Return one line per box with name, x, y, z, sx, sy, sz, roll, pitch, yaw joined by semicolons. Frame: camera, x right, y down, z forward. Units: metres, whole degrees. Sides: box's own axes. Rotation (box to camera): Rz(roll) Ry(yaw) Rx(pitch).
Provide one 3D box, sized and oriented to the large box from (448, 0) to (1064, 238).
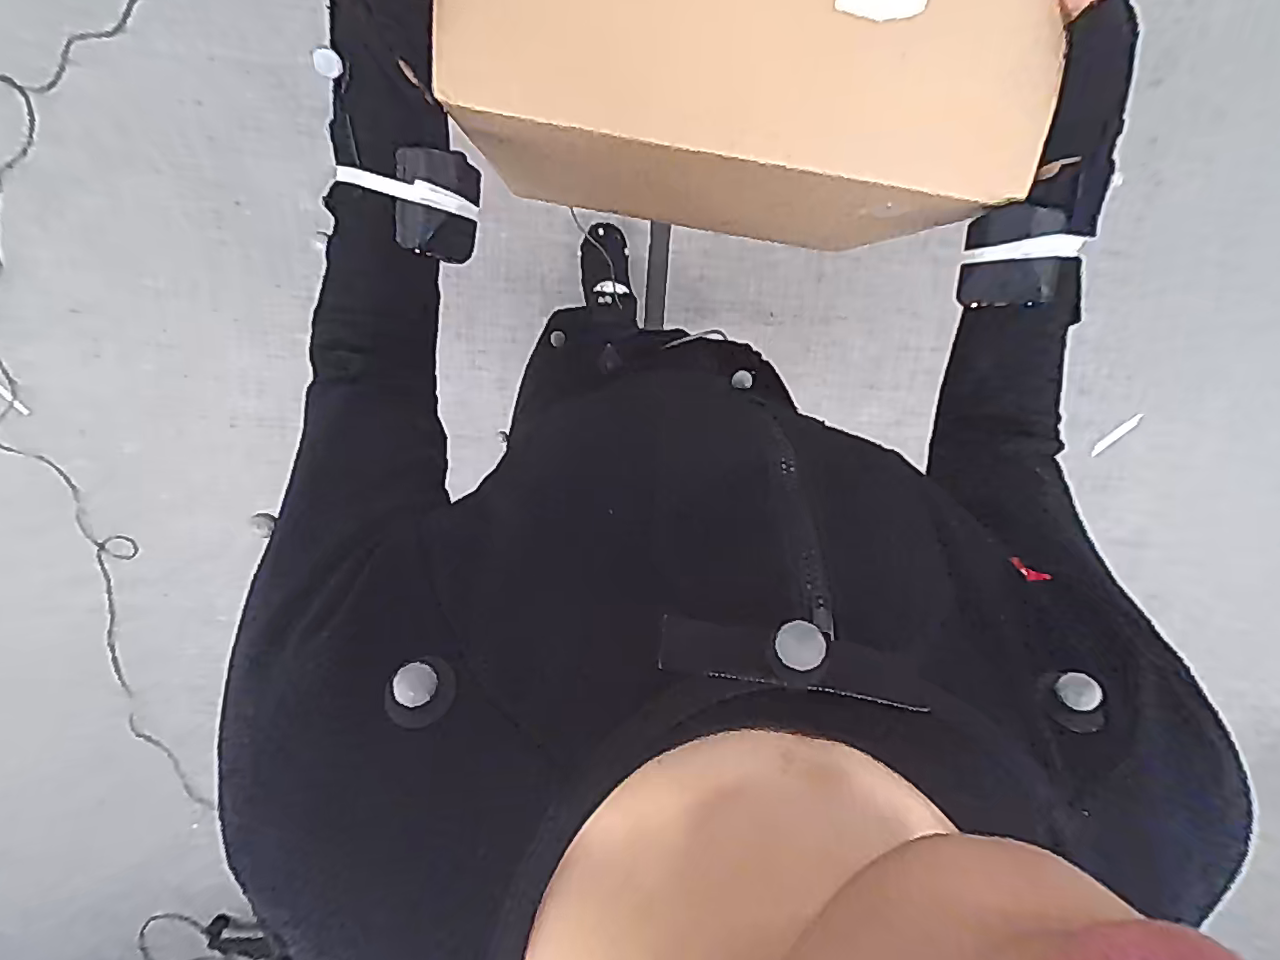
large box;0.077;-0.418;0.467;0.408;0.320;0.320;7;108;-7
